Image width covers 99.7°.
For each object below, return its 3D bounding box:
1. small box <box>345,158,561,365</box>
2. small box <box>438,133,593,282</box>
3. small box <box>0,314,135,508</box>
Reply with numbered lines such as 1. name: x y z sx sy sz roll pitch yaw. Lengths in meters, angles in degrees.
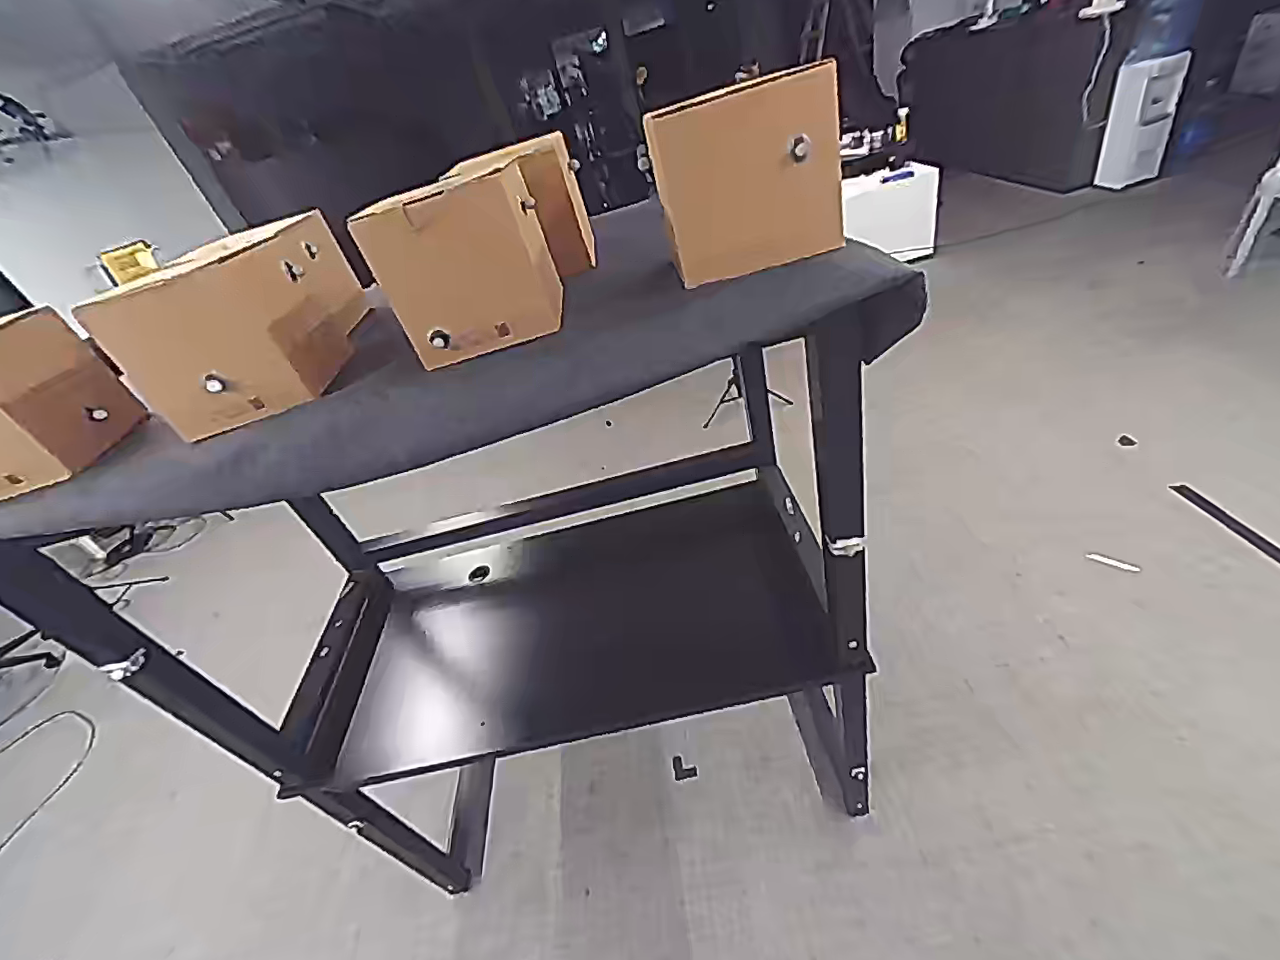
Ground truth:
1. small box: -0.198 -0.252 0.634 0.168 0.176 0.179 -16 35 4
2. small box: -0.173 -0.396 0.811 0.168 0.176 0.179 -15 38 5
3. small box: -0.794 -0.078 0.667 0.168 0.176 0.179 -19 37 -1
